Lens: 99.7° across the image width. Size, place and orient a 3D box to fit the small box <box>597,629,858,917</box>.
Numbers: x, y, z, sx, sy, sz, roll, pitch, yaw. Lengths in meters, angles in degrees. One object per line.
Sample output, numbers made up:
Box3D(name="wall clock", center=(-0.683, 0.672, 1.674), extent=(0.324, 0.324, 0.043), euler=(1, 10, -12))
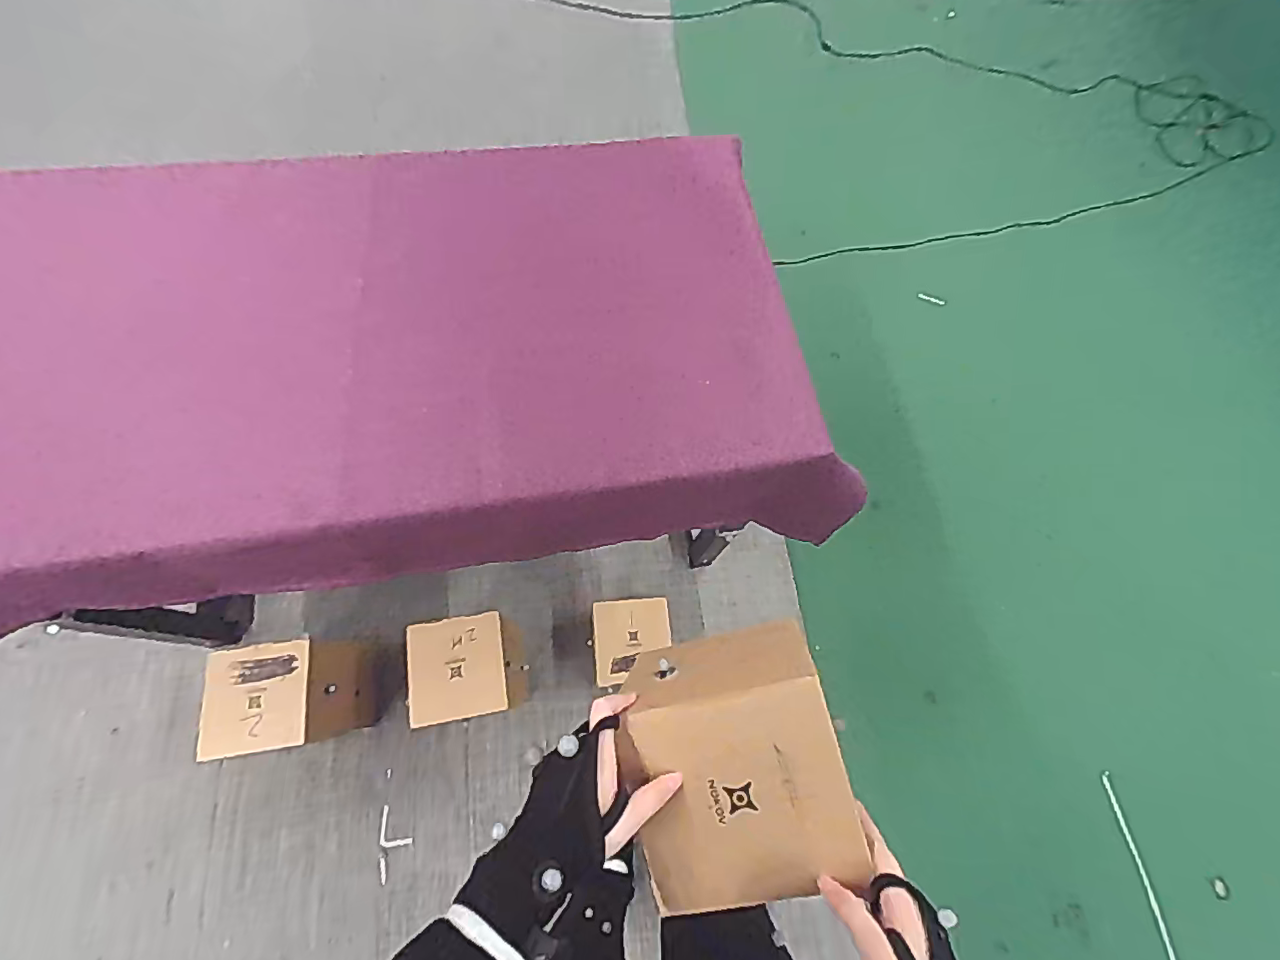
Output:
Box3D(name="small box", center=(0.081, 0.257, 0.510), extent=(0.179, 0.176, 0.168), euler=(-16, 88, 10))

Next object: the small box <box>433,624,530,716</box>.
Box3D(name="small box", center=(-0.346, 0.423, 1.196), extent=(0.179, 0.176, 0.168), euler=(-7, 69, -7))
